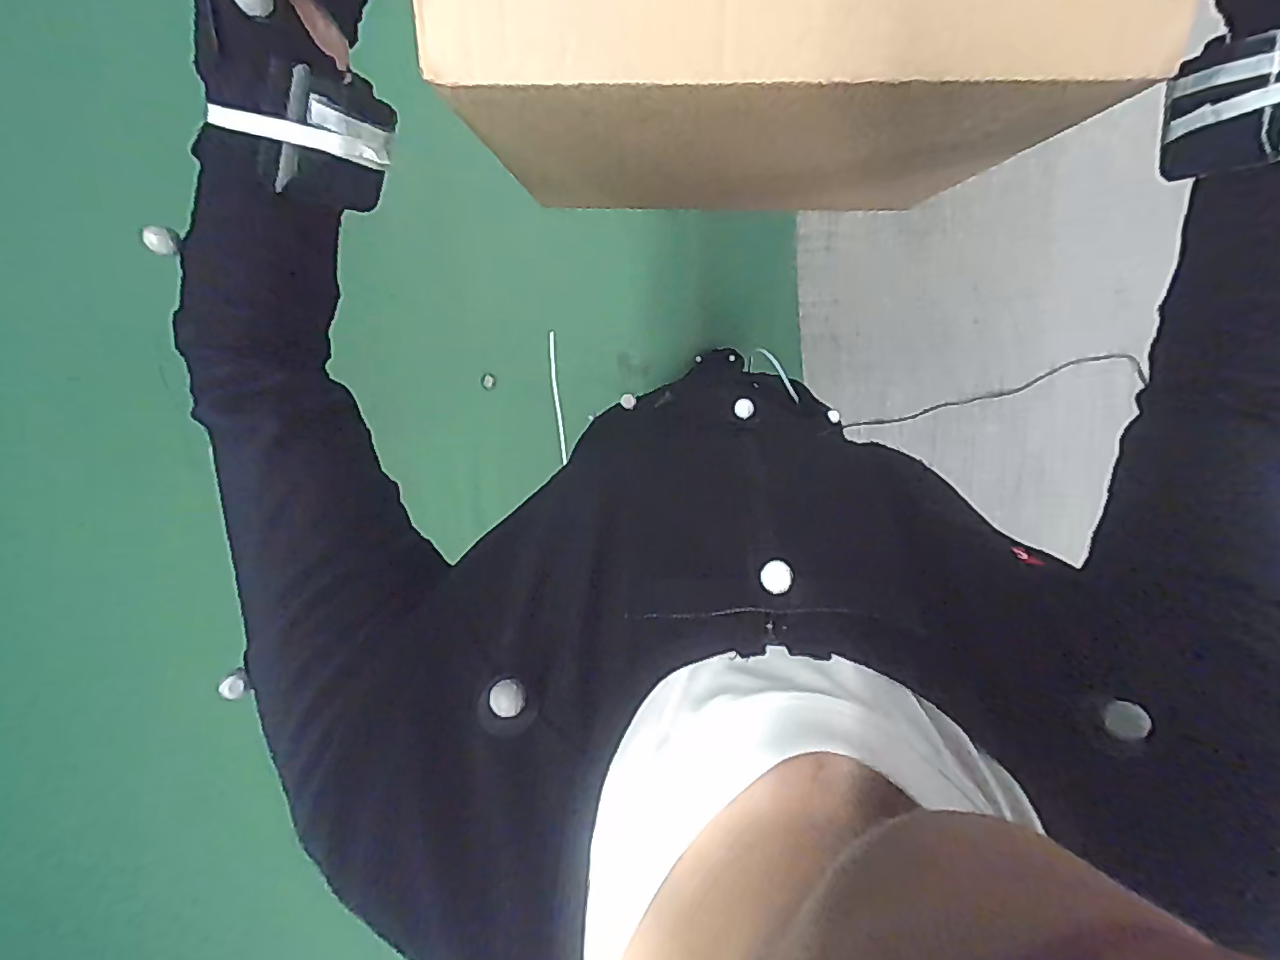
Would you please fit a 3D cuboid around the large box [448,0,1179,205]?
[{"bbox_3d":[0.094,-0.414,0.408,0.408,0.320,0.320,1,106,2],"label":"large box"}]
